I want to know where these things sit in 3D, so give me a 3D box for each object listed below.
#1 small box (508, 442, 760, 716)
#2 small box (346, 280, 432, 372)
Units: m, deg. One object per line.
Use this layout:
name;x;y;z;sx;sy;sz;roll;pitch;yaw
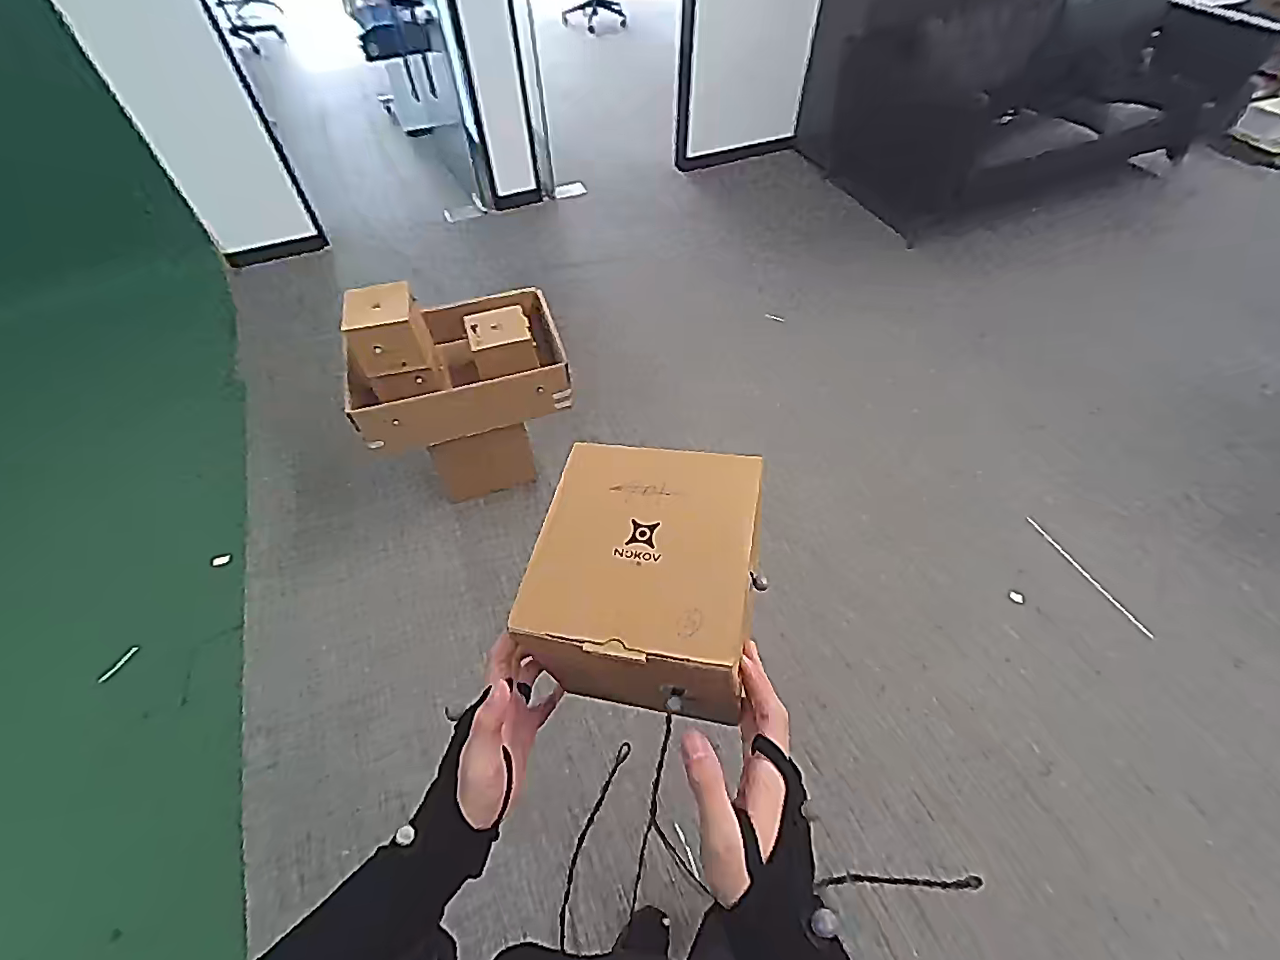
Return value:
small box;0.013;0.090;0.478;0.168;0.176;0.179;6;55;15
small box;-0.674;-0.411;1.469;0.168;0.176;0.179;-12;54;-9
